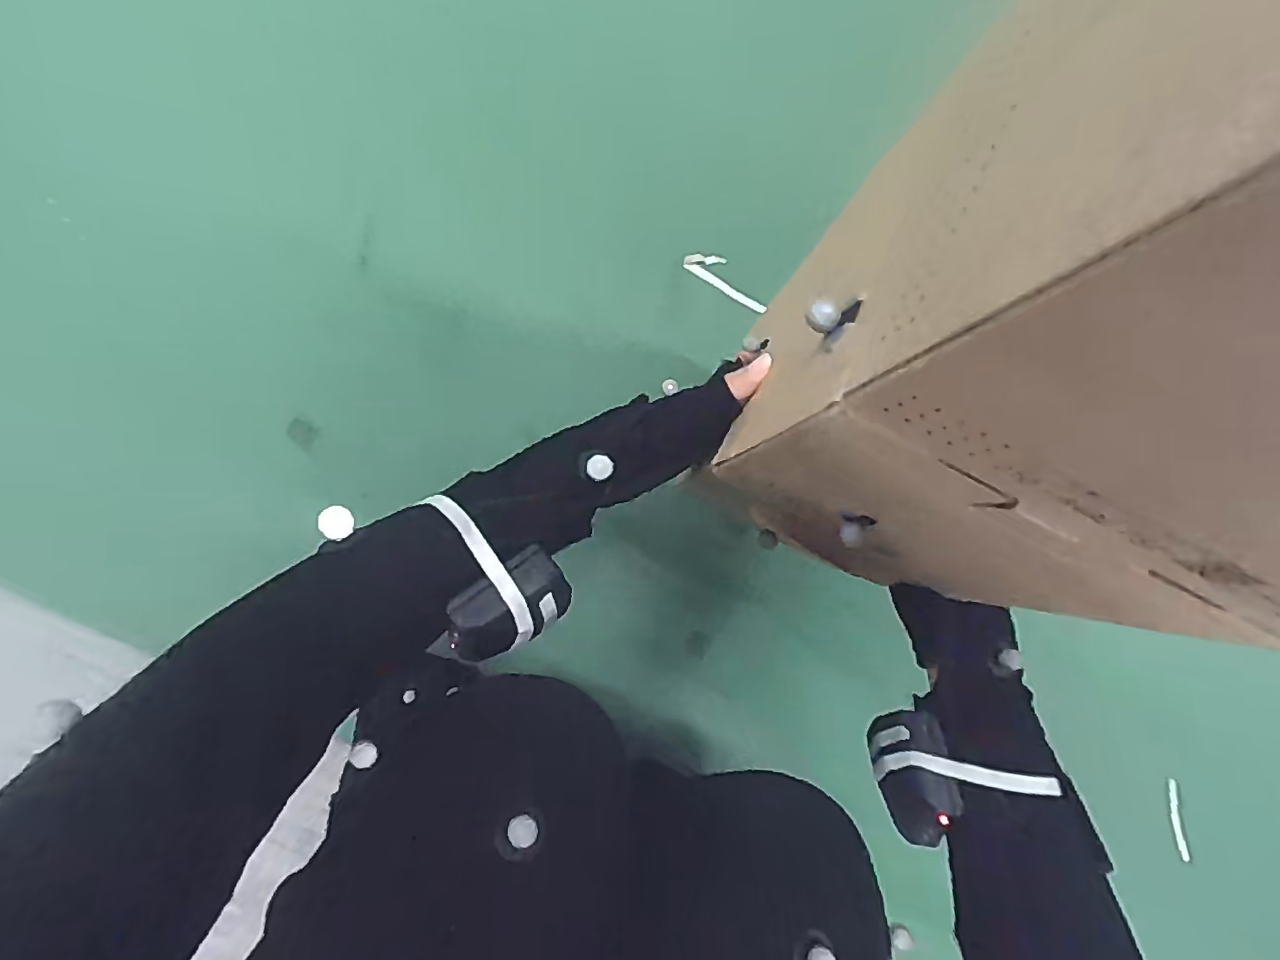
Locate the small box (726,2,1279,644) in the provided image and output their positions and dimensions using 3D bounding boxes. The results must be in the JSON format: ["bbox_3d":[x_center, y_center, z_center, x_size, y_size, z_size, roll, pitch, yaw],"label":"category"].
[{"bbox_3d":[0.161,-0.051,0.264,0.168,0.176,0.179,27,83,-2],"label":"small box"}]

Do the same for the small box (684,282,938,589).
[{"bbox_3d":[0.148,-0.036,0.426,0.168,0.176,0.179,28,83,-2],"label":"small box"}]
